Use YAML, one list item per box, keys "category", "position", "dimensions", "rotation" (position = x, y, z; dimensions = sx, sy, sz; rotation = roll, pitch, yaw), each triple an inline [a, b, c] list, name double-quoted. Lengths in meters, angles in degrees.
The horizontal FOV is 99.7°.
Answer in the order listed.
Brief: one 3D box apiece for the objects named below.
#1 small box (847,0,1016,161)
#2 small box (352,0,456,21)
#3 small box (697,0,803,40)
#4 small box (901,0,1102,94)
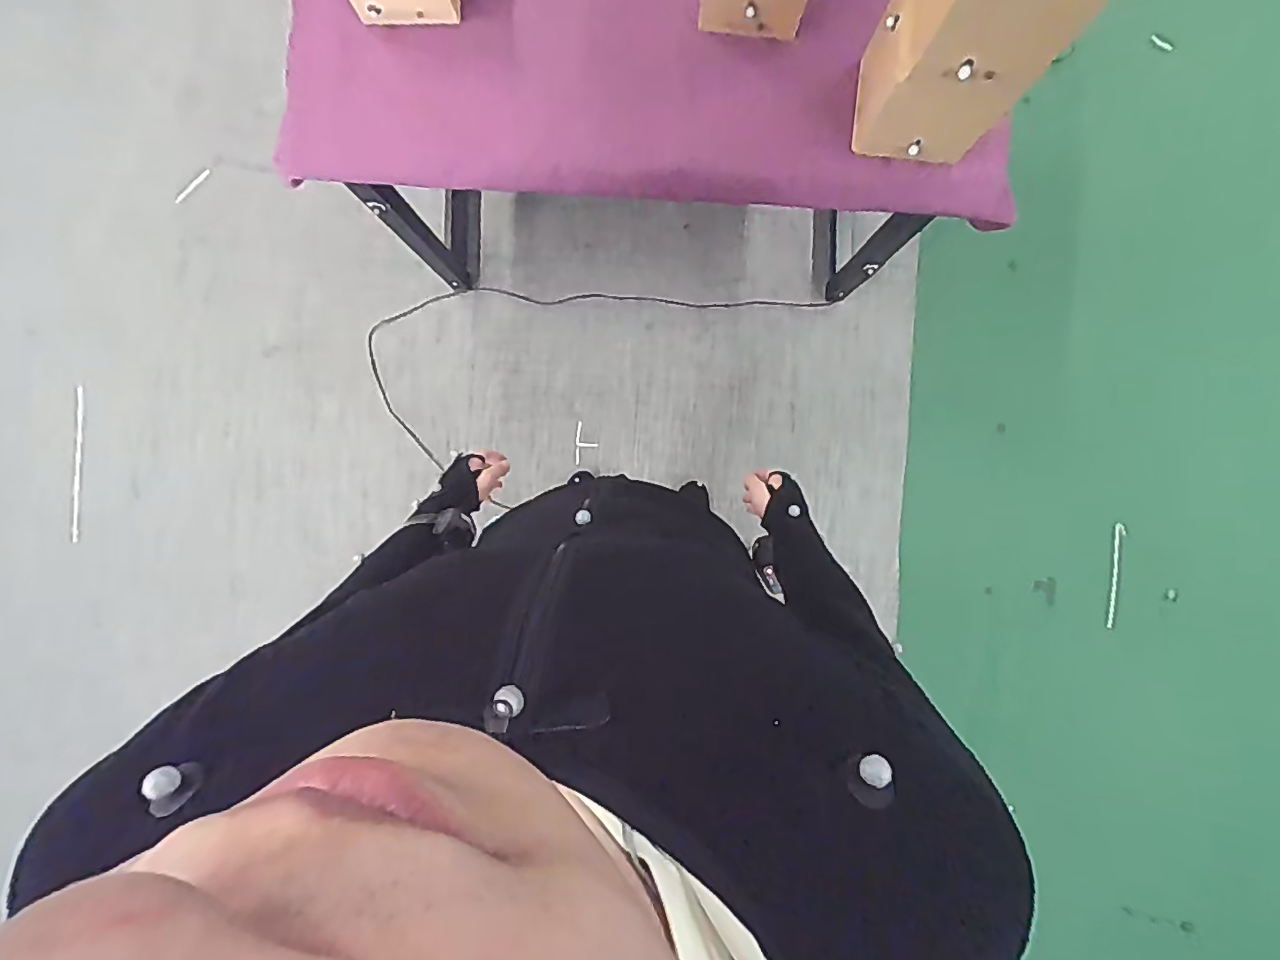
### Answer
- category: "small box"
  position: [0.443, -0.622, 0.828]
  dimensions: [0.179, 0.176, 0.168]
  rotation: [6, 89, 0]
- category: "small box"
  position: [-0.387, -0.851, 0.826]
  dimensions: [0.168, 0.176, 0.179]
  rotation: [-1, 90, -1]
- category: "small box"
  position: [0.182, -0.835, 0.828]
  dimensions: [0.168, 0.176, 0.179]
  rotation: [7, 91, 1]
- category: "small box"
  position: [0.444, -0.626, 0.664]
  dimensions: [0.168, 0.176, 0.179]
  rotation: [6, 90, 2]
